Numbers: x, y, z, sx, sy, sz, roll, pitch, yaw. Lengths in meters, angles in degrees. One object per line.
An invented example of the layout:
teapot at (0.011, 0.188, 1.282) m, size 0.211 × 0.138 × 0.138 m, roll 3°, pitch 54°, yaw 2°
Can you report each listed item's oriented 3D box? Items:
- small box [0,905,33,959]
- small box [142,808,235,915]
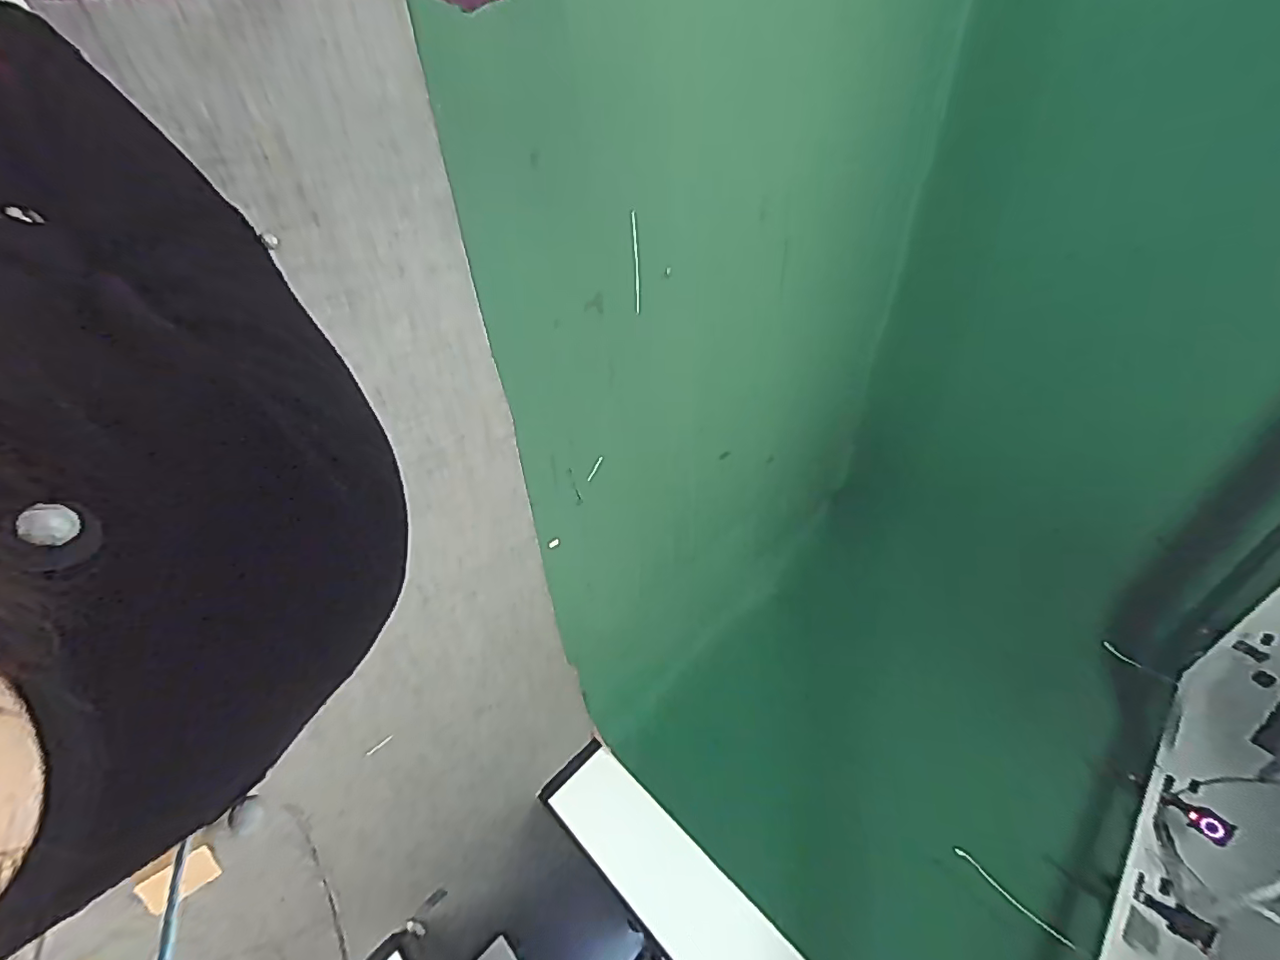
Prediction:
small box at (-1.642, 1.169, 1.303) m, size 0.168 × 0.176 × 0.179 m, roll -48°, pitch 143°, yaw -16°
small box at (-1.360, 1.143, 1.631) m, size 0.168 × 0.176 × 0.179 m, roll -24°, pitch 132°, yaw -40°
